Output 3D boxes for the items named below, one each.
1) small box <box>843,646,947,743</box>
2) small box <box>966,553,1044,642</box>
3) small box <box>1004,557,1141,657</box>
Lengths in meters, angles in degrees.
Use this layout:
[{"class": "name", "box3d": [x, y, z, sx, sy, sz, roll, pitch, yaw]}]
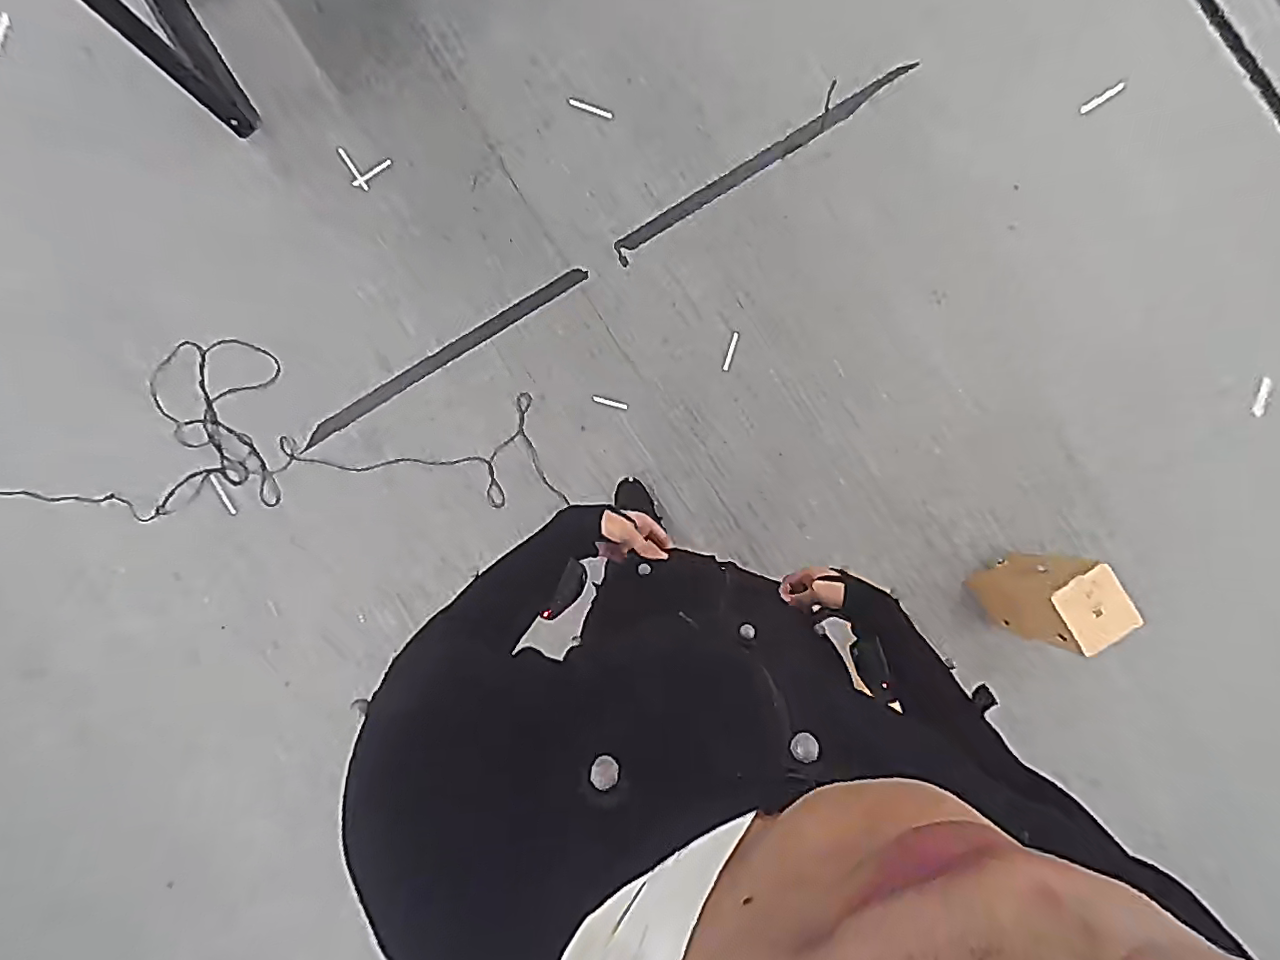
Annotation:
[{"class": "small box", "box3d": [0.709, 0.592, 1.528, 0.168, 0.176, 0.179, -36, 89, -1]}, {"class": "small box", "box3d": [1.079, 0.324, 1.532, 0.168, 0.176, 0.179, -30, 89, -2]}, {"class": "small box", "box3d": [1.083, 0.312, 1.369, 0.168, 0.176, 0.179, -31, 88, -2]}]
